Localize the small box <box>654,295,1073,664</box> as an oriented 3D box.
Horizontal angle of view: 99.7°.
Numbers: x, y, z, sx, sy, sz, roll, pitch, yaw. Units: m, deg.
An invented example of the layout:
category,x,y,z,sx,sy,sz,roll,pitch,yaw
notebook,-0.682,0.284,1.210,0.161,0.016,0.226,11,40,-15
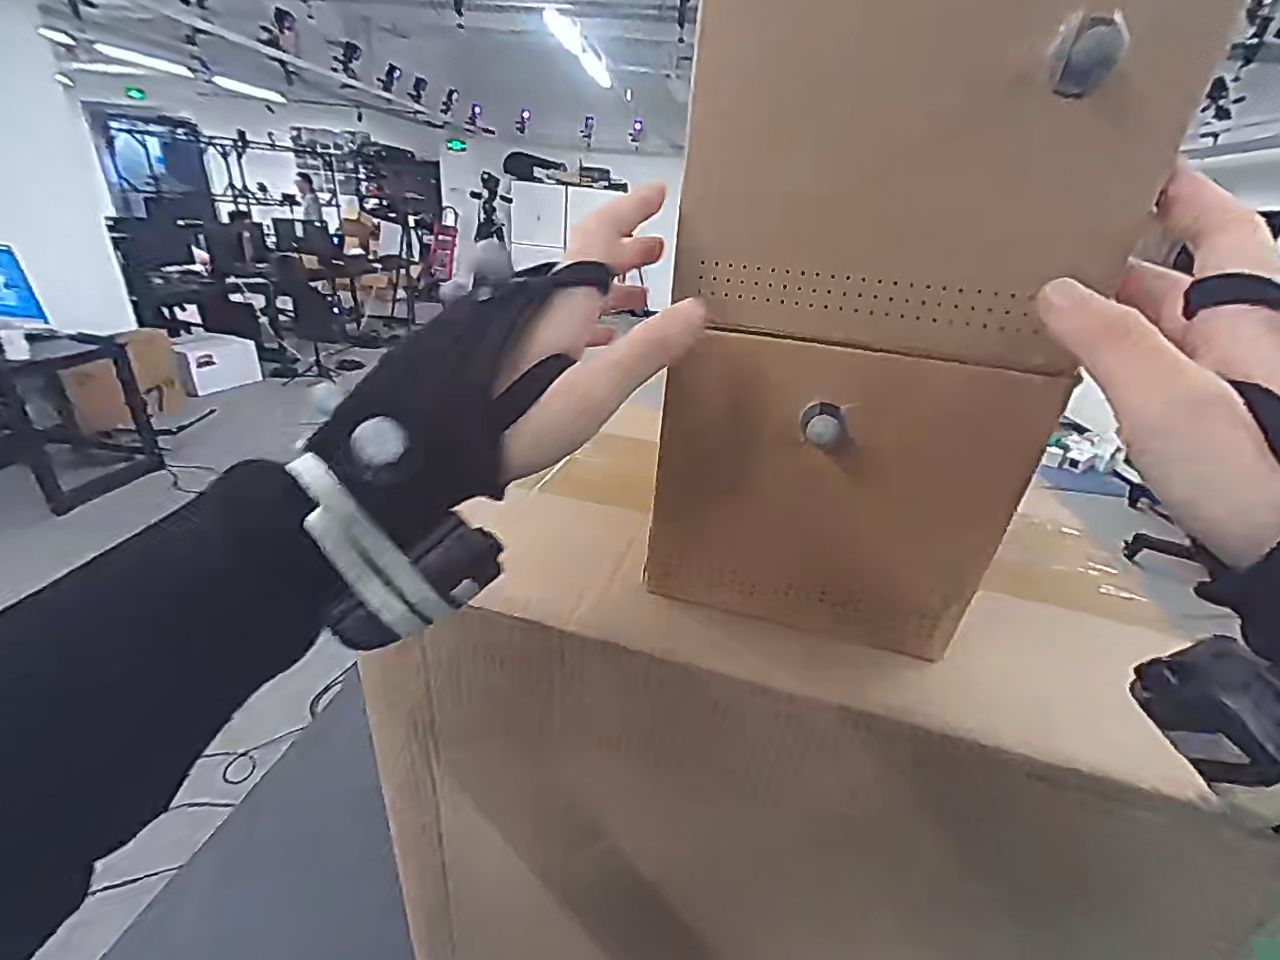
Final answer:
category,x,y,z,sx,sy,sz,roll,pitch,yaw
small box,0.116,-0.010,0.349,0.179,0.176,0.168,11,29,12
